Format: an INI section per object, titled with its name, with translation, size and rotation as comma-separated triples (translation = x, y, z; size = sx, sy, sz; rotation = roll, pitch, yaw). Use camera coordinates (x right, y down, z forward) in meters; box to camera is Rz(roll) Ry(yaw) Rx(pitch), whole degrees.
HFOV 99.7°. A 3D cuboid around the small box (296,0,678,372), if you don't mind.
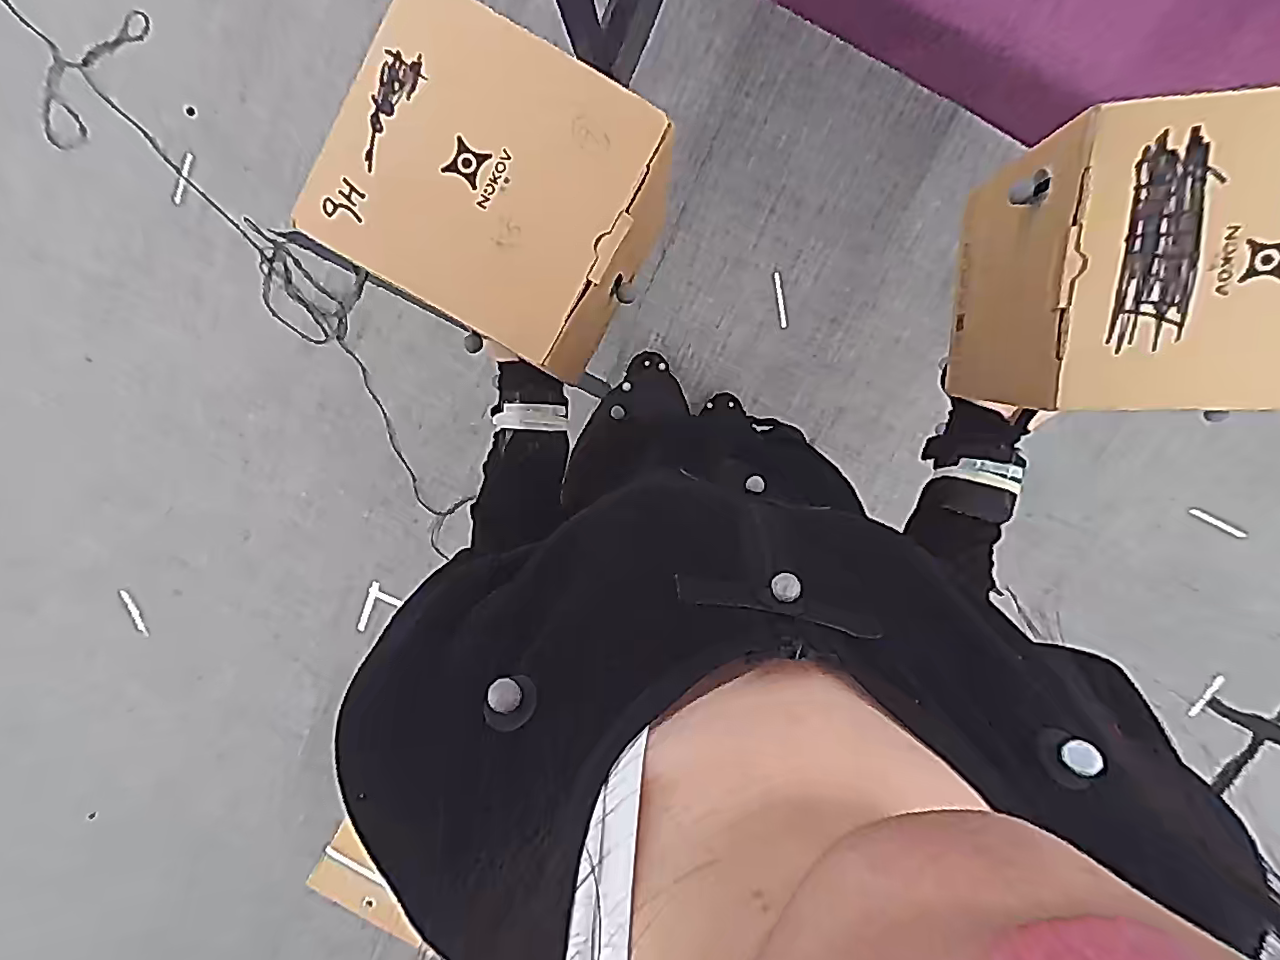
[small box]
translation = -0.092, -0.192, 0.399
size = 0.179, 0.176, 0.168
rotation = 29, 95, -4
